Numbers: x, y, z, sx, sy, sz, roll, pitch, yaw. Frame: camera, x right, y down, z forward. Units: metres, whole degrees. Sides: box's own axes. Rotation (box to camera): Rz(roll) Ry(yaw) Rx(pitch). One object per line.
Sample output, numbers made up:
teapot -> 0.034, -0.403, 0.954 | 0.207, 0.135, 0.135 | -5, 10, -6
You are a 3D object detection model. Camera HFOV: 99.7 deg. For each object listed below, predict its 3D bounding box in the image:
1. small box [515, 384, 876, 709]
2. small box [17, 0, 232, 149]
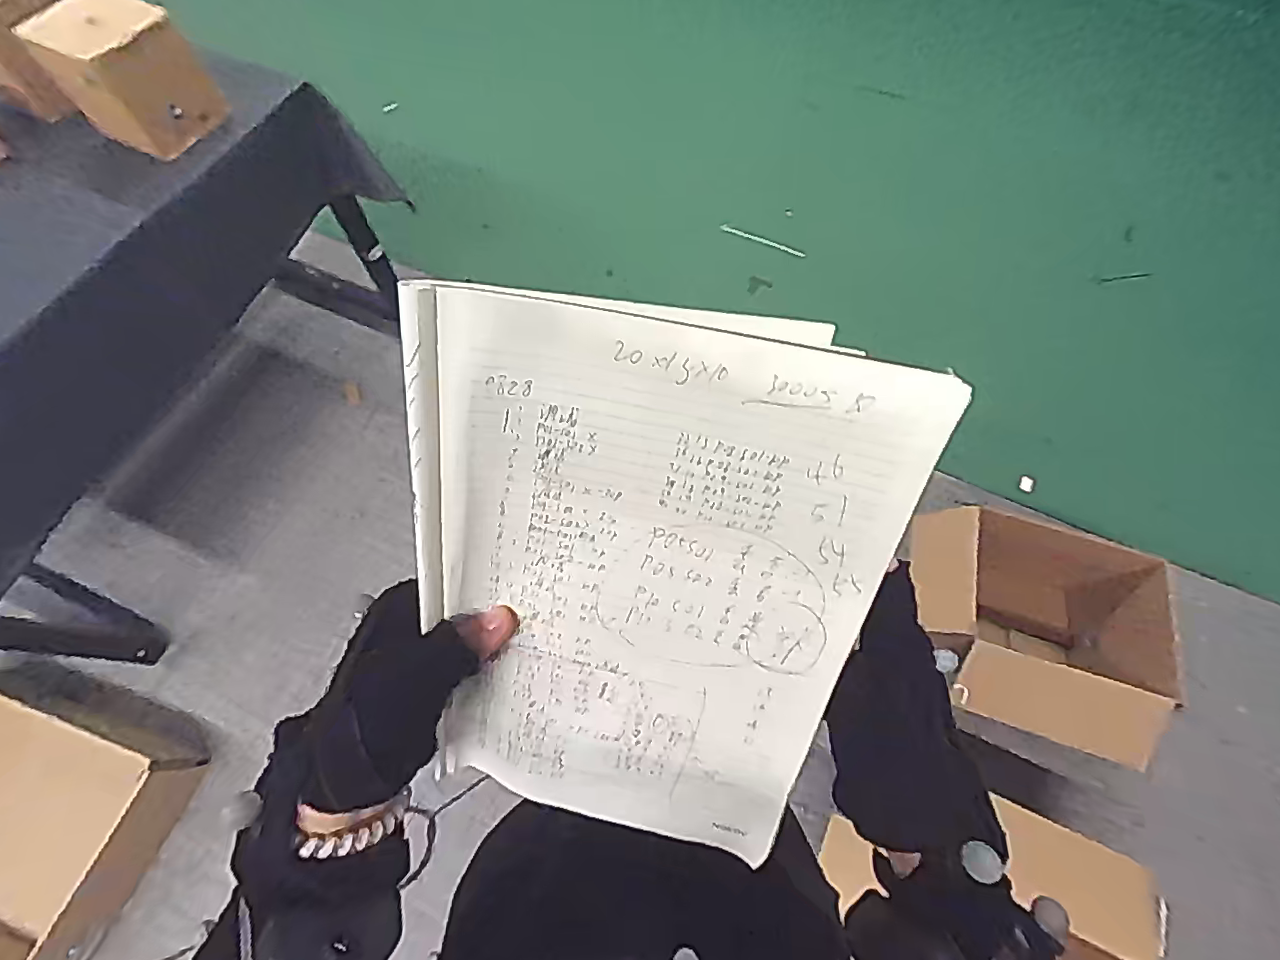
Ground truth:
small box -> 0.028, 0.025, 0.352 | 0.179, 0.176, 0.168 | -2, 102, 0
small box -> -0.895, -0.728, 0.959 | 0.179, 0.176, 0.168 | 26, 67, 9
